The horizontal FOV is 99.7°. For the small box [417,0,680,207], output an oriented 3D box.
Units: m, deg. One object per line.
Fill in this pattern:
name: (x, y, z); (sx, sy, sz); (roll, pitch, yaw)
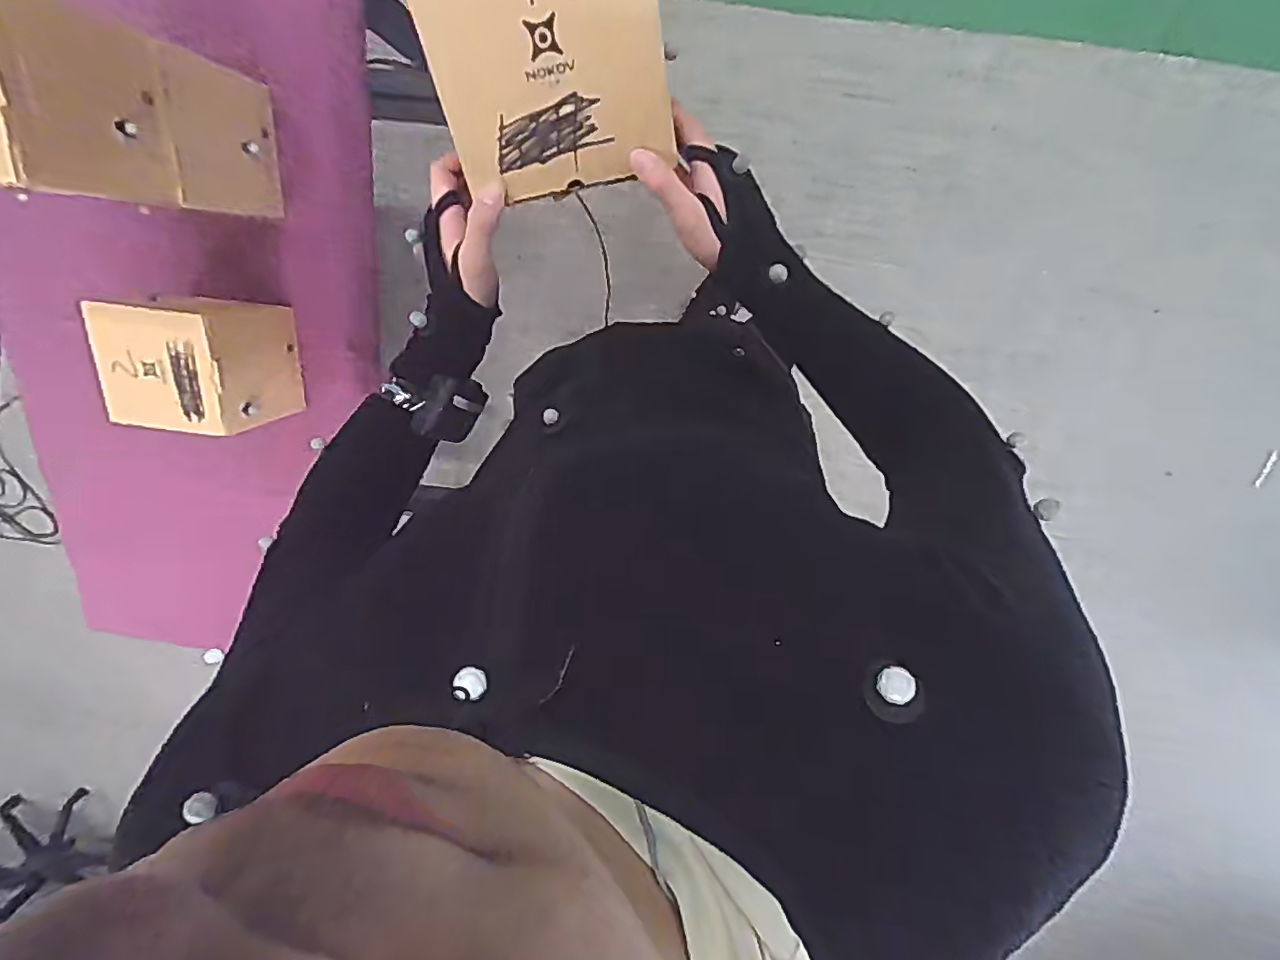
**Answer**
small box: (-0.061, -0.345, 0.438); (0.168, 0.176, 0.179); (-9, 126, 5)

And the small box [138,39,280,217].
small box: (-0.610, -0.442, 0.695); (0.179, 0.176, 0.168); (8, 112, 3)

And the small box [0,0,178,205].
small box: (-0.629, -0.384, 0.544); (0.179, 0.176, 0.168); (8, 111, 3)
